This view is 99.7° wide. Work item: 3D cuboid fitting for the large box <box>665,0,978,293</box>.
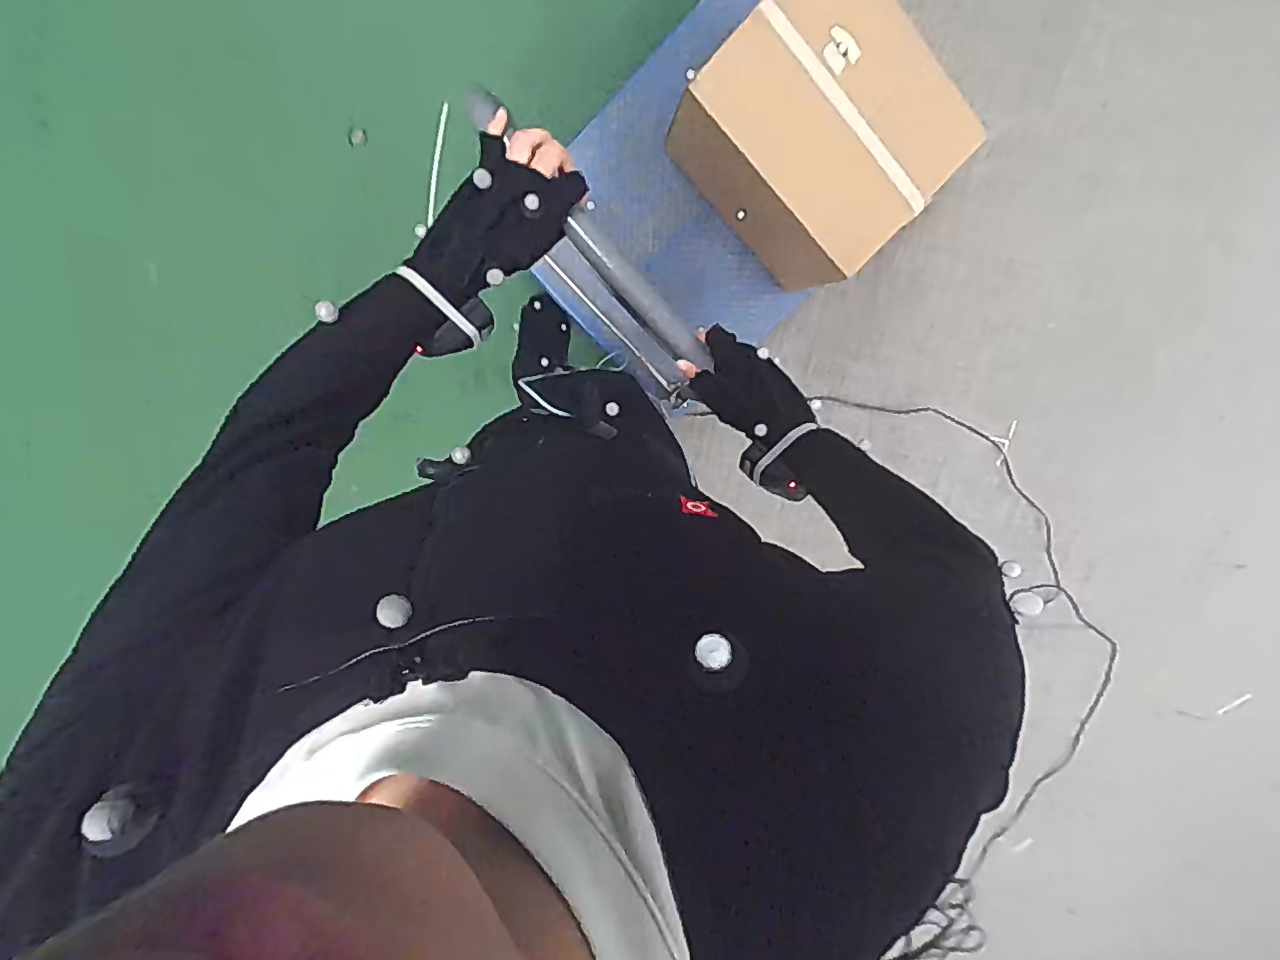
[{"bbox_3d":[0.302,-0.613,1.007,0.408,0.320,0.320,43,97,-13],"label":"large box"}]
